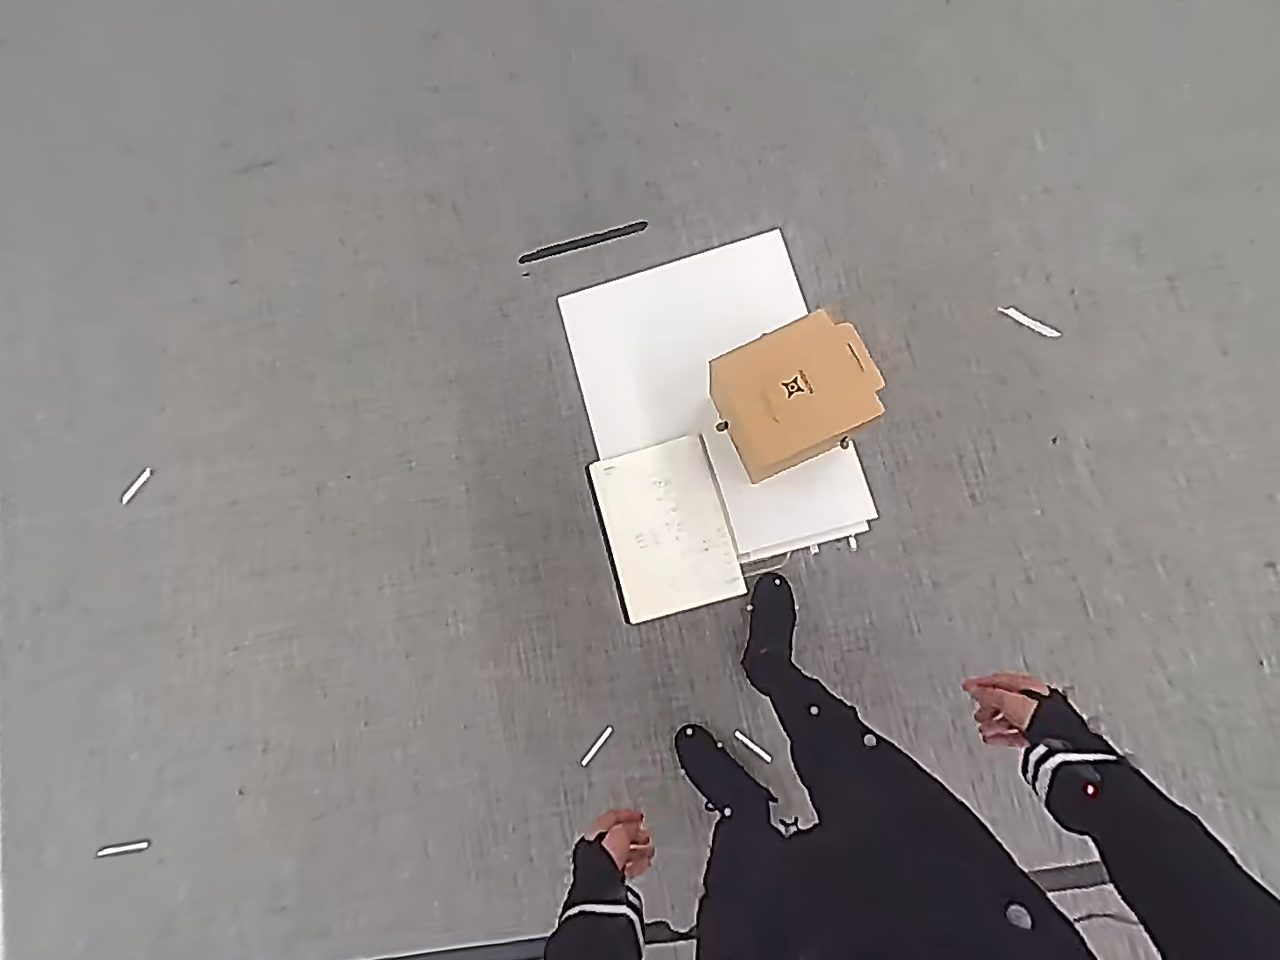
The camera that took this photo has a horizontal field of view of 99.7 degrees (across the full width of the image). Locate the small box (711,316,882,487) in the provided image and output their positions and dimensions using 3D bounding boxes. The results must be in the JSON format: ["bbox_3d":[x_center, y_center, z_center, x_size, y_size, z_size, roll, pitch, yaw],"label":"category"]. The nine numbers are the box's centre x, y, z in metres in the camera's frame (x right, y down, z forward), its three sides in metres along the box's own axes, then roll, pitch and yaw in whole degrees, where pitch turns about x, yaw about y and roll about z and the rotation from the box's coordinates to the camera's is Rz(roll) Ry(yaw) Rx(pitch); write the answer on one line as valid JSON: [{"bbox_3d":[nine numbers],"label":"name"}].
[{"bbox_3d":[0.213,-0.103,0.791,0.179,0.176,0.168,-25,79,3],"label":"small box"}]
